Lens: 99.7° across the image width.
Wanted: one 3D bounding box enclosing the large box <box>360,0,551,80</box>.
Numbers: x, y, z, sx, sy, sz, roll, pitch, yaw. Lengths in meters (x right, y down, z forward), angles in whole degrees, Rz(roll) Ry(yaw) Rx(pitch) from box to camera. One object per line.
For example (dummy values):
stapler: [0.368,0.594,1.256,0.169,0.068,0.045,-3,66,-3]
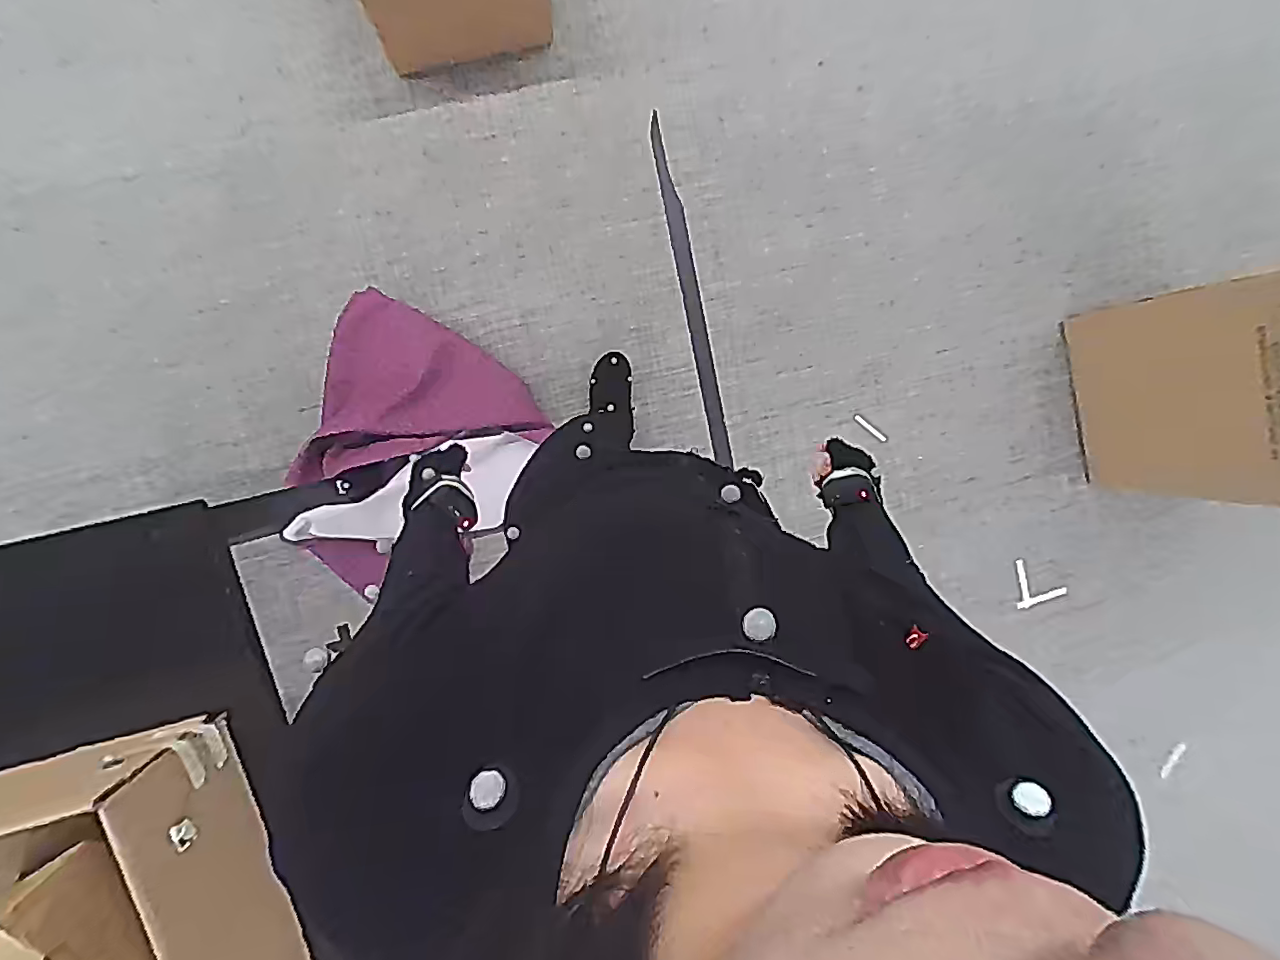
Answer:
large box: [-0.433,-1.169,1.184,0.408,0.320,0.320,-17,98,-6]
